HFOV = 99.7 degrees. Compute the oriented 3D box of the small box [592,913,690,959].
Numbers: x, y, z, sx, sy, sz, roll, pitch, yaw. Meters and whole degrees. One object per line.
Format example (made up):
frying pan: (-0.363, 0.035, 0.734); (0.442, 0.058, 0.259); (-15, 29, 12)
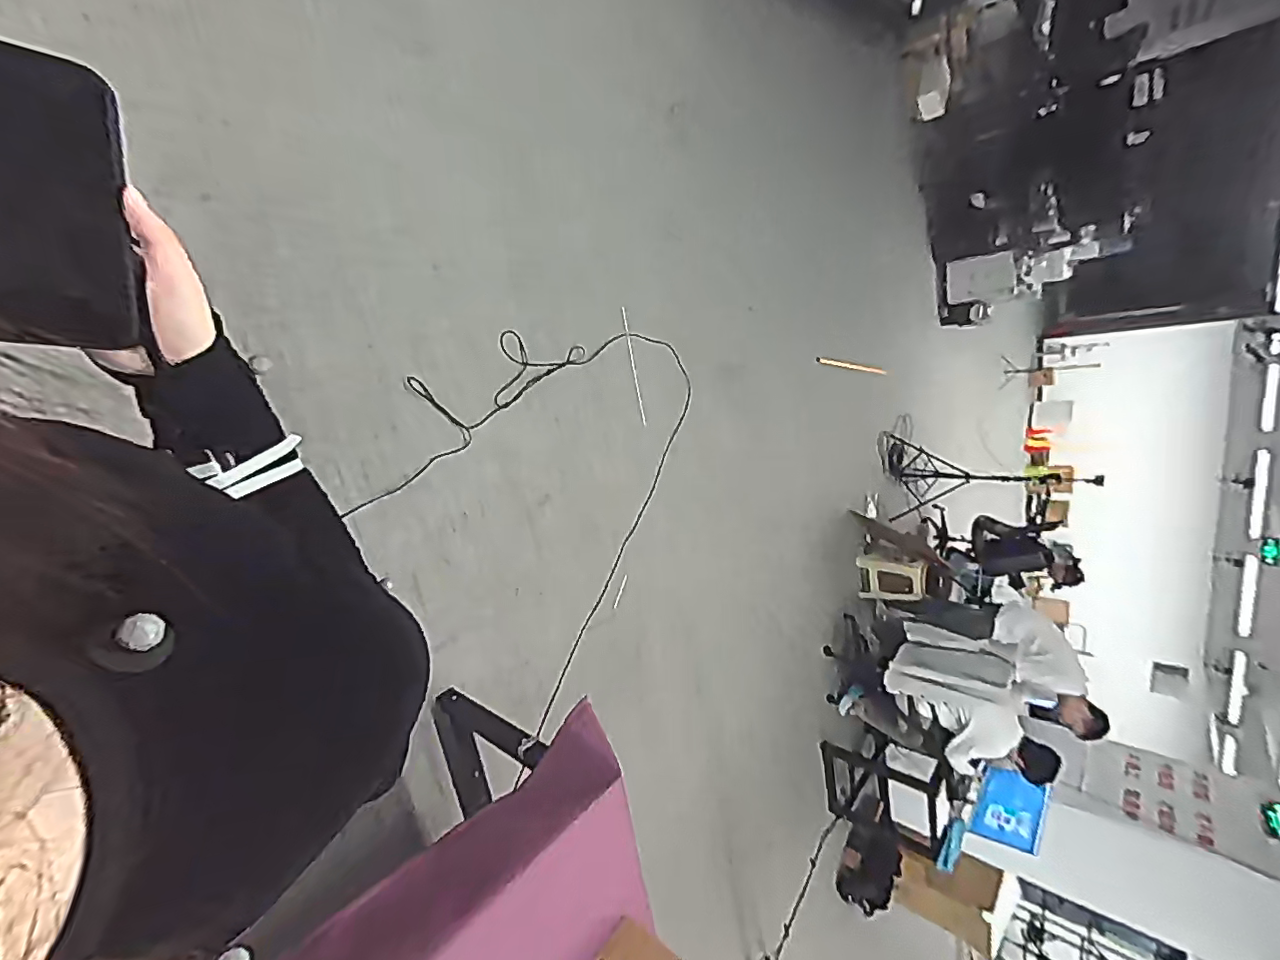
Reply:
small box: (0.005, 1.086, 1.157); (0.168, 0.176, 0.179); (-29, 113, -40)
